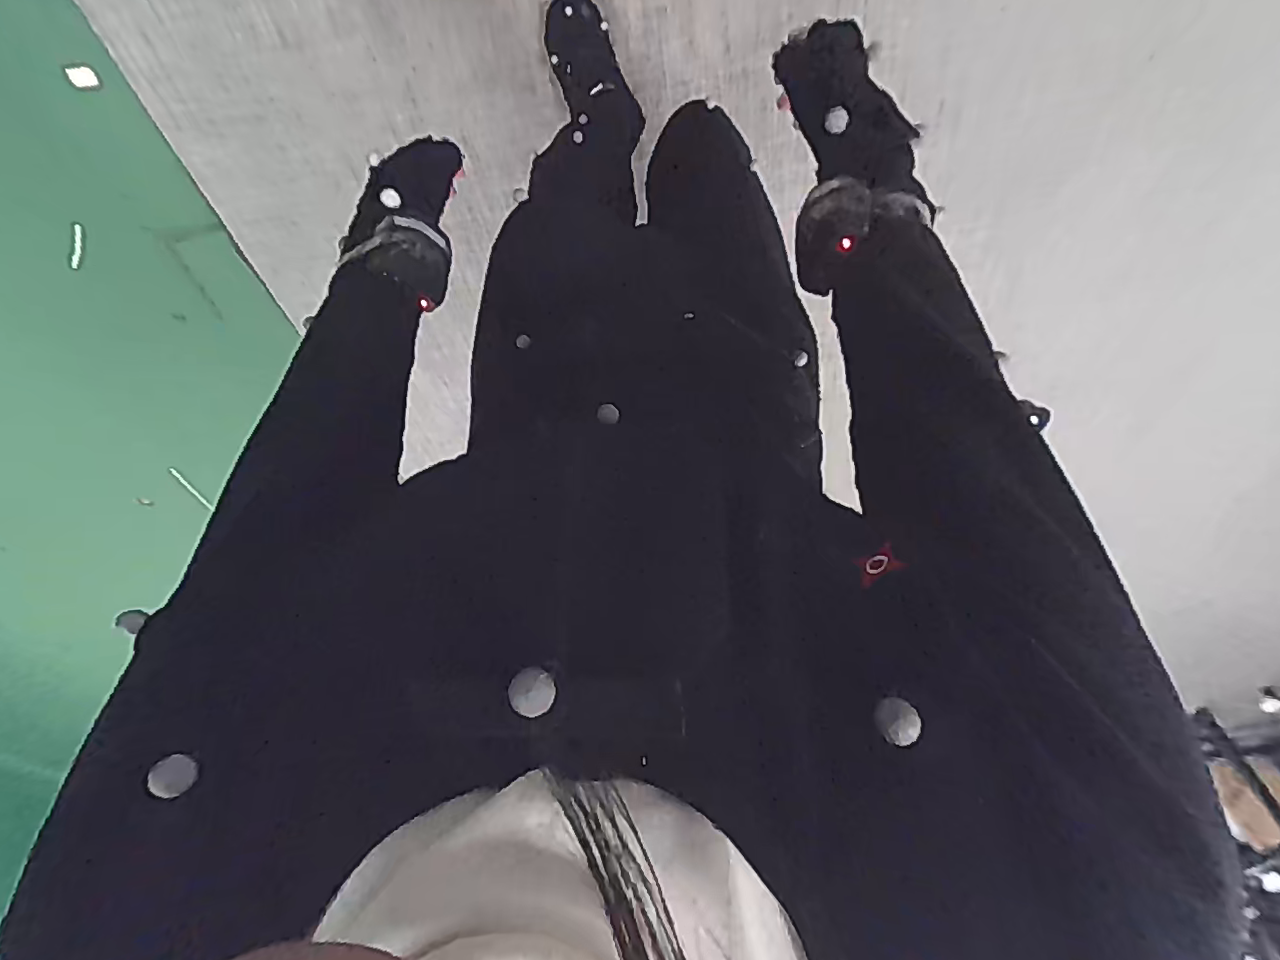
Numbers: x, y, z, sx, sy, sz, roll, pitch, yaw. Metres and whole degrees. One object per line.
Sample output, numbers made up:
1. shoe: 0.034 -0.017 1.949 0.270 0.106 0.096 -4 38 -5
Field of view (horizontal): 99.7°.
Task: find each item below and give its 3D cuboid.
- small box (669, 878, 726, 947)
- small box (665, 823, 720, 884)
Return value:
1. small box: 0.200 1.515 1.899 0.168 0.176 0.179 -12 133 8
2. small box: 0.194 1.396 2.012 0.179 0.176 0.168 -10 133 8
